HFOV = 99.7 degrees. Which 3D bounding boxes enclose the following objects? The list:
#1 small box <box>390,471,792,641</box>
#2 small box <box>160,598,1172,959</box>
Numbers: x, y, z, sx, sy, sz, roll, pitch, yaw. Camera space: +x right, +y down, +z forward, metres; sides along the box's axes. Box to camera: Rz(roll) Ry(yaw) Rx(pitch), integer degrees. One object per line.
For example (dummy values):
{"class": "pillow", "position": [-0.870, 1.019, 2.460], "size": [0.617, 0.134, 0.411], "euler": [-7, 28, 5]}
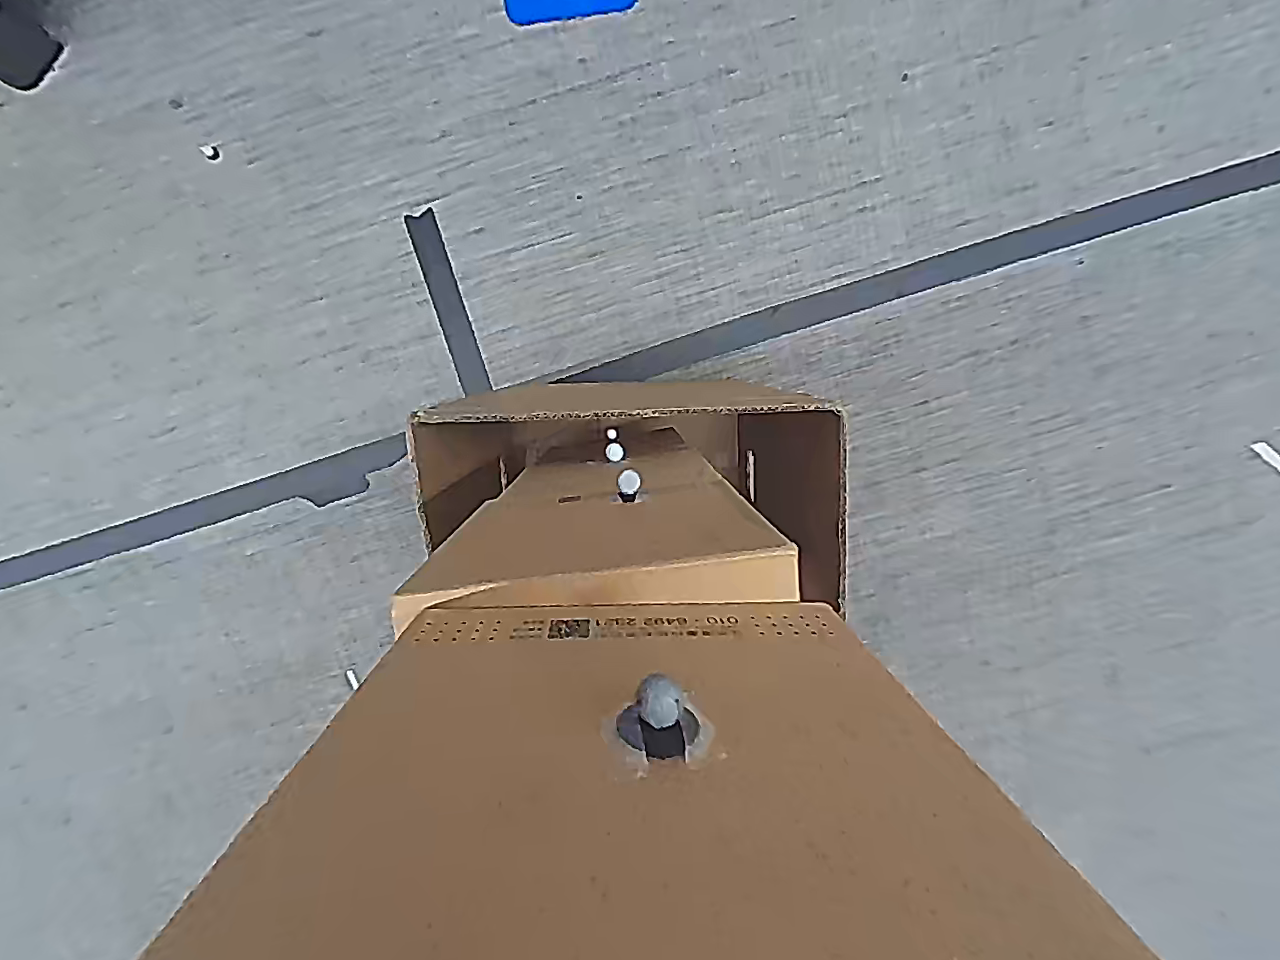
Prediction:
{"class": "small box", "position": [-0.015, 0.099, 0.313], "size": [0.168, 0.176, 0.179], "euler": [-6, 100, -1]}
{"class": "small box", "position": [-0.005, 0.144, 0.156], "size": [0.168, 0.176, 0.179], "euler": [1, 101, -2]}
